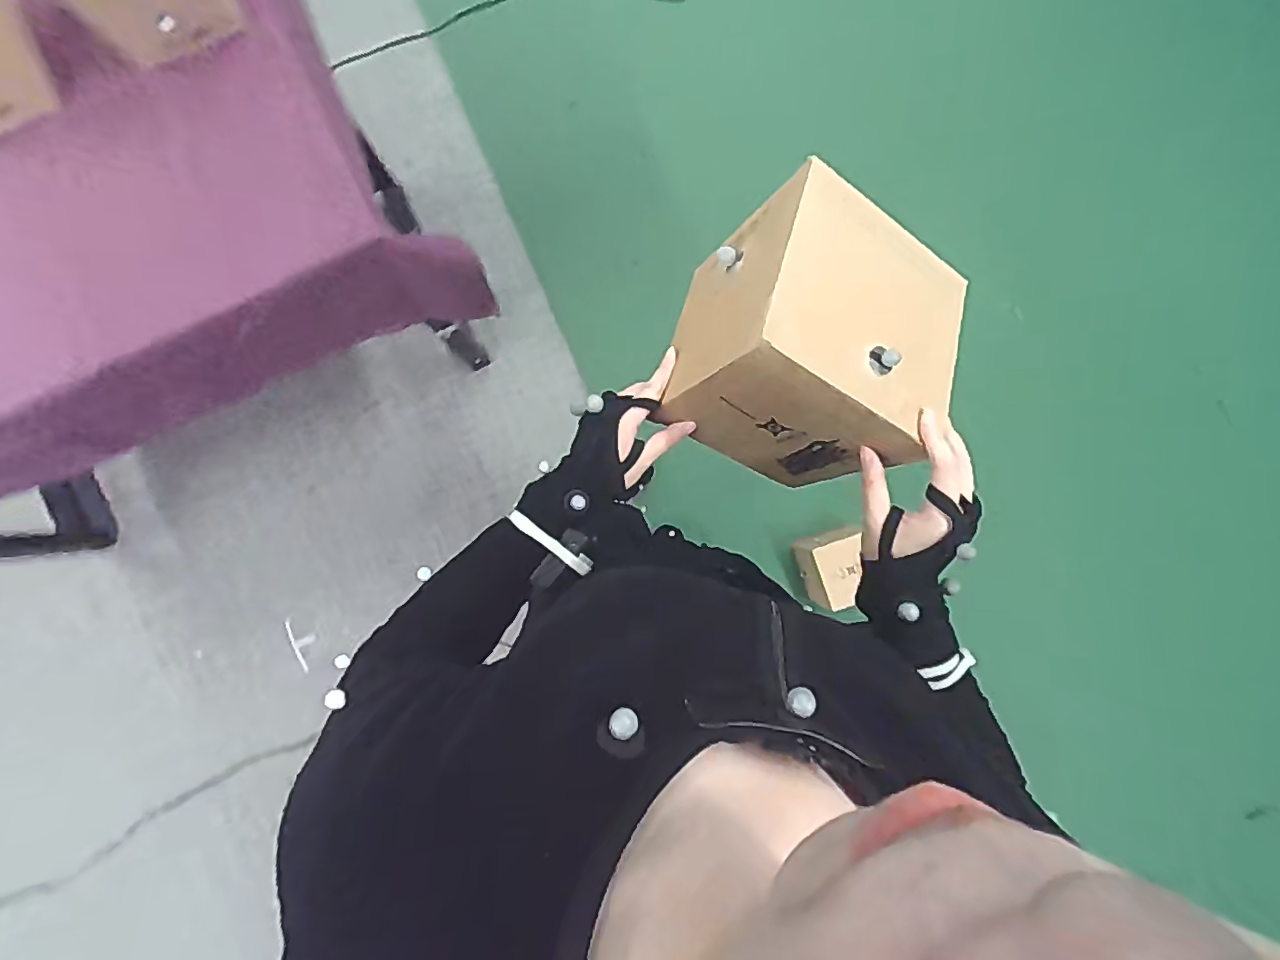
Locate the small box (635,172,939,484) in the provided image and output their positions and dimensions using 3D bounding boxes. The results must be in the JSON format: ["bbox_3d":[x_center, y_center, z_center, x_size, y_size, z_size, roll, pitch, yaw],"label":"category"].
[{"bbox_3d":[0.126,-0.115,0.466,0.179,0.168,0.176,25,70,-20],"label":"small box"}]

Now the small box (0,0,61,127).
[{"bbox_3d":[-0.941,-0.599,0.703,0.168,0.176,0.179,-26,89,-3],"label":"small box"}]

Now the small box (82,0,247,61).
[{"bbox_3d":[-0.676,-0.716,0.711,0.168,0.176,0.179,-23,91,-2],"label":"small box"}]
